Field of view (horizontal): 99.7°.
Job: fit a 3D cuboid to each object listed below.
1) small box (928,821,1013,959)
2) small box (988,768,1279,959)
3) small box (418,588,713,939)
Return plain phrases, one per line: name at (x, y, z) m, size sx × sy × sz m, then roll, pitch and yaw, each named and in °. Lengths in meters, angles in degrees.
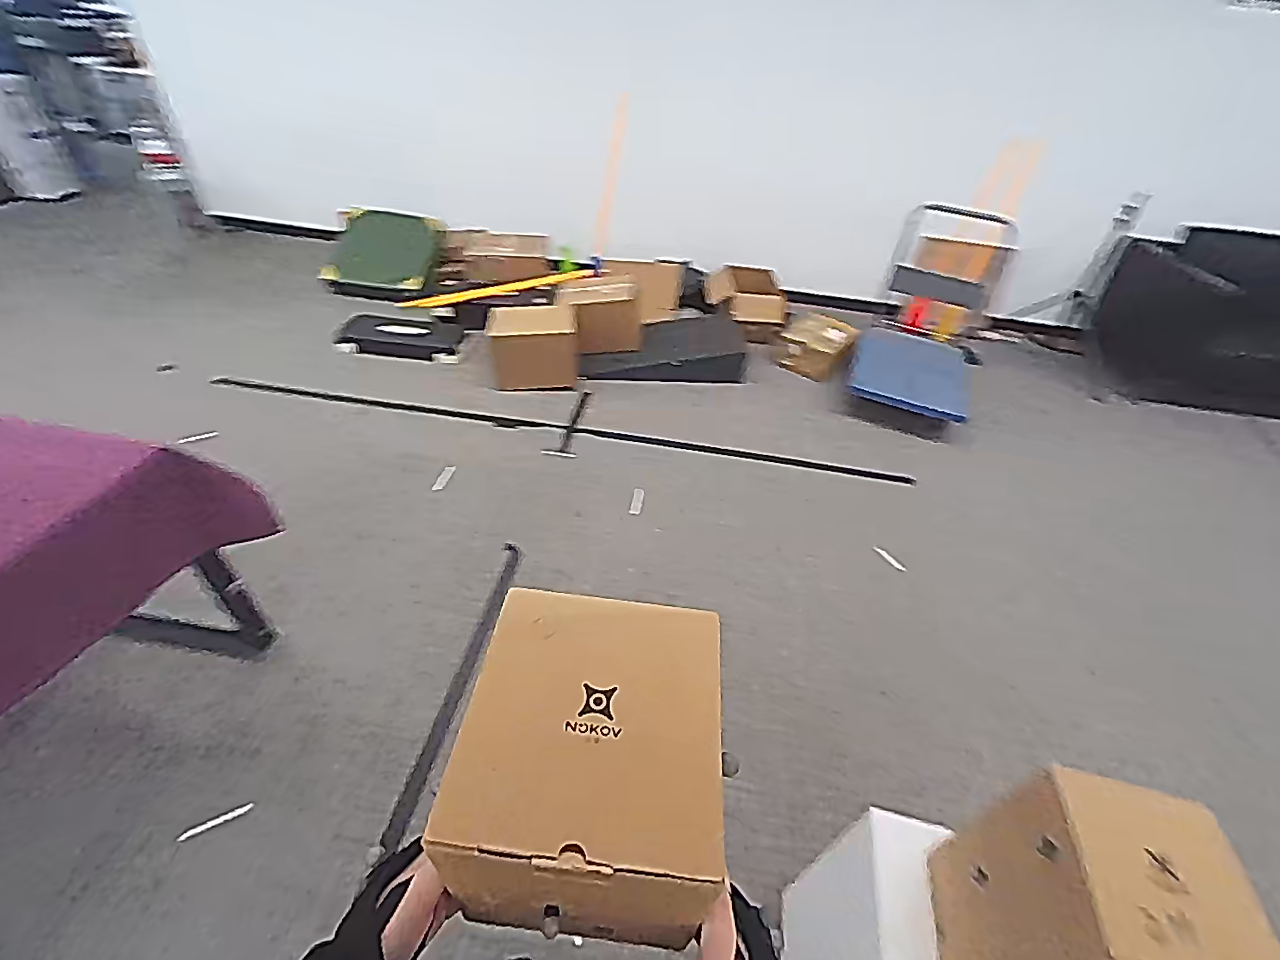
small box at (0.506, 0.581, 0.699) m, size 0.179 × 0.176 × 0.168 m, roll 15°, pitch 42°, yaw 8°
small box at (0.517, 0.457, 0.590) m, size 0.168 × 0.176 × 0.179 m, roll 13°, pitch 42°, yaw 8°
small box at (-0.042, 0.209, 0.405) m, size 0.168 × 0.176 × 0.179 m, roll 6°, pitch 42°, yaw 0°
